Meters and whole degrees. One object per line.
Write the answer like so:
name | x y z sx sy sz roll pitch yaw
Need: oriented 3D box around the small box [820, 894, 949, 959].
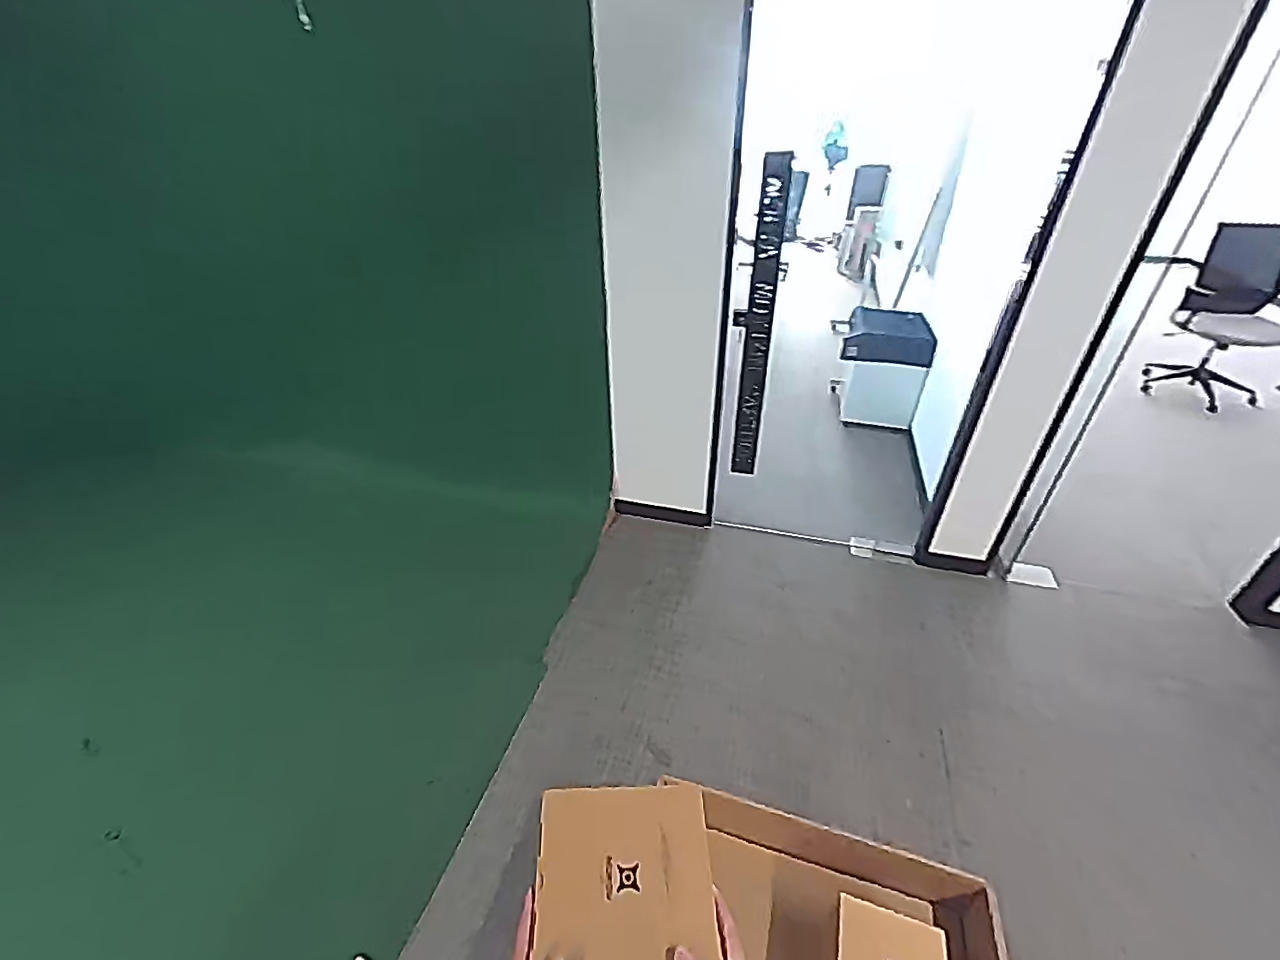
small box | 0.388 0.827 0.871 0.168 0.176 0.179 12 37 15

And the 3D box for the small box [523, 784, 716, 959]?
small box | -0.022 0.447 0.583 0.179 0.176 0.168 1 43 -3
